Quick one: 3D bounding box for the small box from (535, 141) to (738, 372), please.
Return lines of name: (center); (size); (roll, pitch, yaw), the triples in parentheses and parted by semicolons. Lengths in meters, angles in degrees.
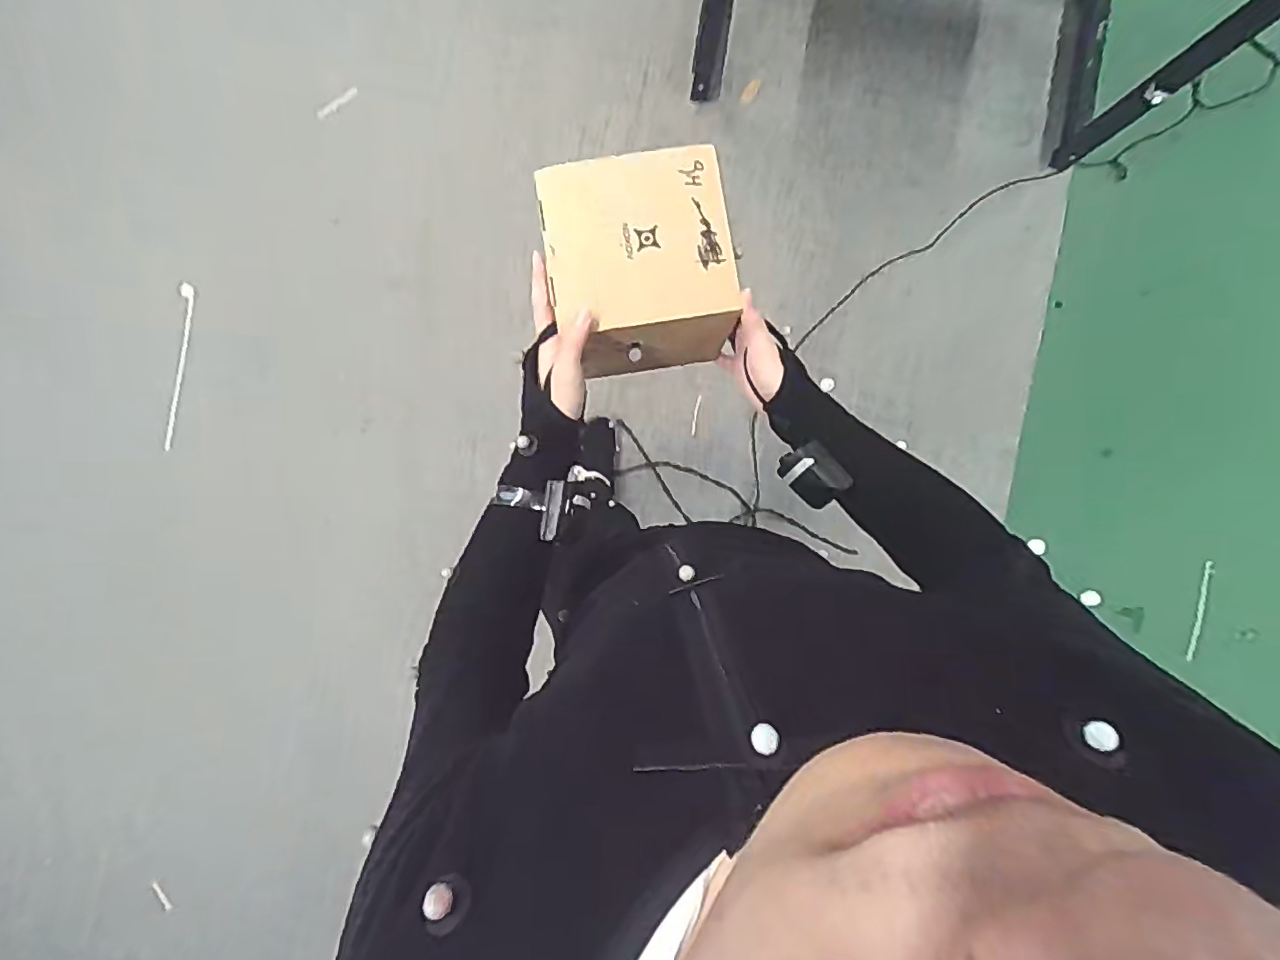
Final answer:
small box: (-0.002, -0.224, 0.586); (0.179, 0.176, 0.168); (-8, 87, 0)
